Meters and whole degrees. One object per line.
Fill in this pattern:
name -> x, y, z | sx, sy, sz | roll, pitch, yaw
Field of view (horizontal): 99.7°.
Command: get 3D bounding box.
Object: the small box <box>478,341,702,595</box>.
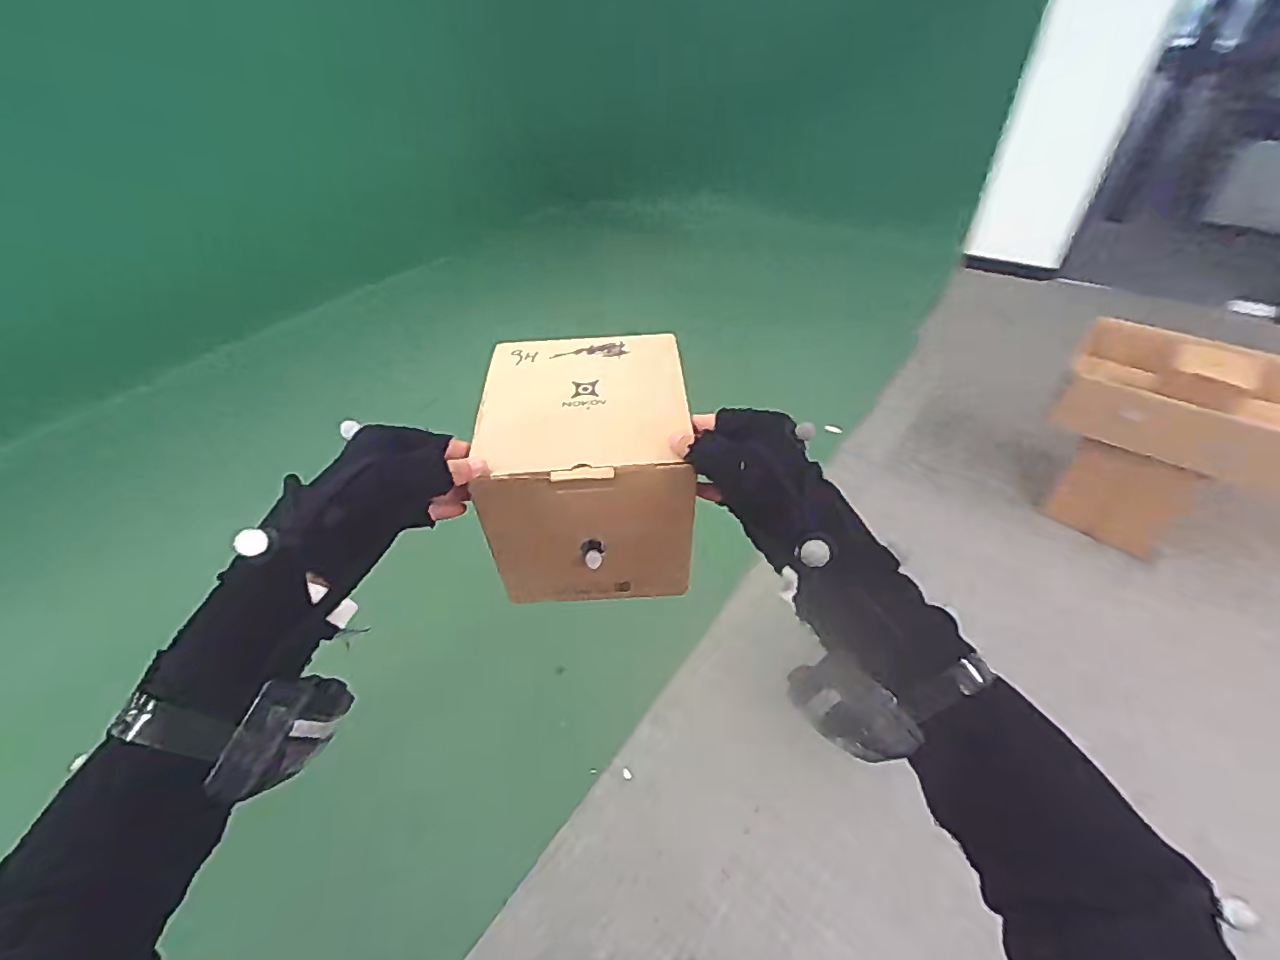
small box -> -0.034, -0.005, 0.498 | 0.168, 0.176, 0.179 | -2, 46, 0

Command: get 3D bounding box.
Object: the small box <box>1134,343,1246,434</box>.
small box -> 1.554, -0.257, 1.535 | 0.168, 0.176, 0.179 | 28, 51, 27
